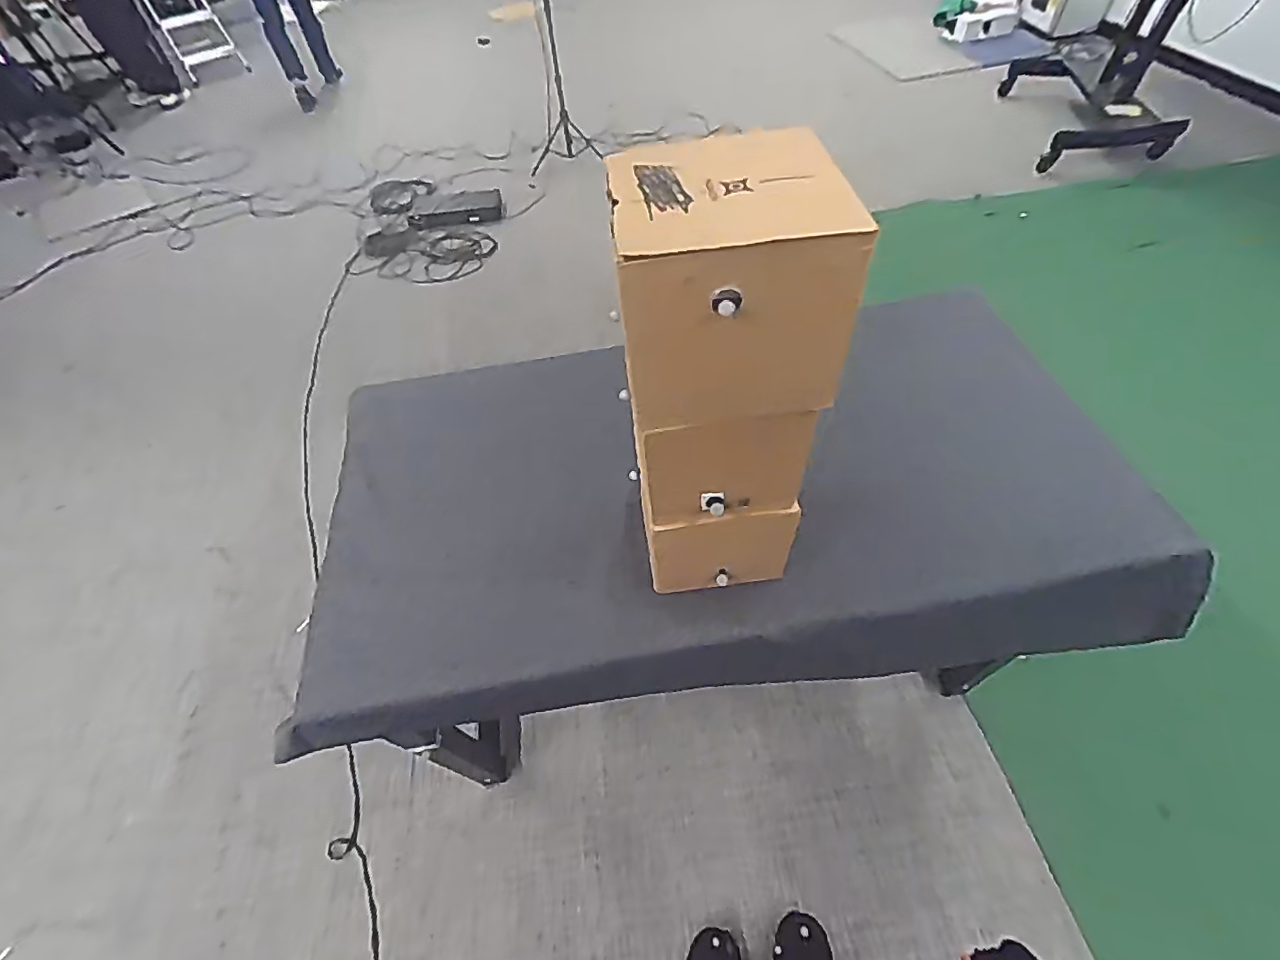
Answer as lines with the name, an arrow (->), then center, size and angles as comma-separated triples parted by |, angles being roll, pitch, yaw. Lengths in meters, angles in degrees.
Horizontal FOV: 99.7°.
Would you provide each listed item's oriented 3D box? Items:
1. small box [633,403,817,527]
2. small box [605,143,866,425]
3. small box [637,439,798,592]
small box -> 0.078, -0.071, 0.610 | 0.168, 0.176, 0.179 | -10, 54, -1
small box -> 0.069, -0.164, 0.475 | 0.179, 0.176, 0.168 | -7, 53, 0
small box -> 0.092, 0.035, 0.733 | 0.179, 0.176, 0.168 | -7, 52, -2
